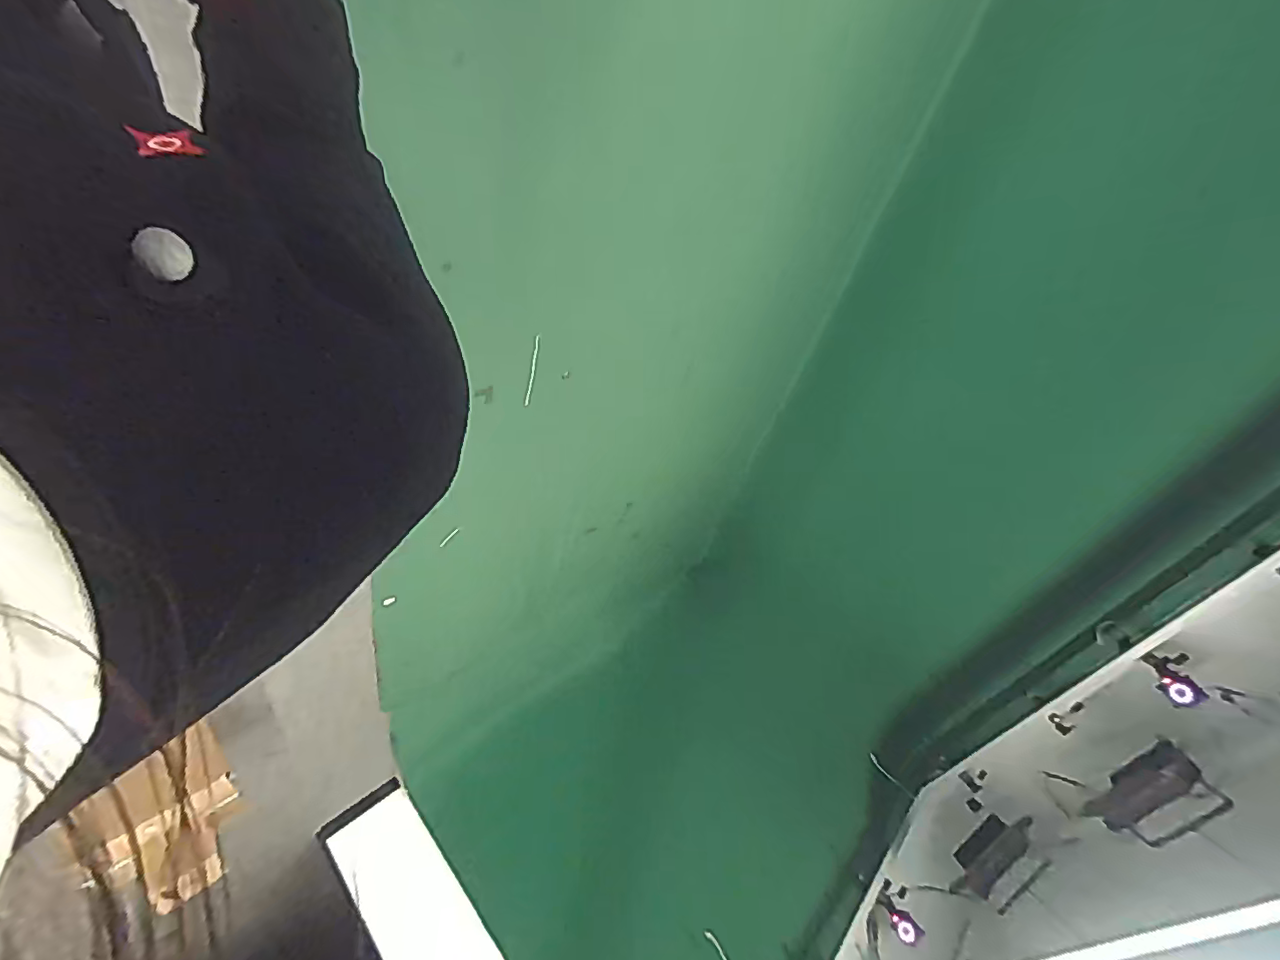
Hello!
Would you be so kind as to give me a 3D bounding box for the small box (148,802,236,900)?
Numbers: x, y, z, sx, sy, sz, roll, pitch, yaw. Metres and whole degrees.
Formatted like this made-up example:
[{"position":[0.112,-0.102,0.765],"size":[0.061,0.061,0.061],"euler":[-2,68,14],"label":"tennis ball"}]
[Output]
[{"position":[-1.469,1.209,1.770],"size":[0.179,0.176,0.168],"euler":[-25,140,-39],"label":"small box"}]
